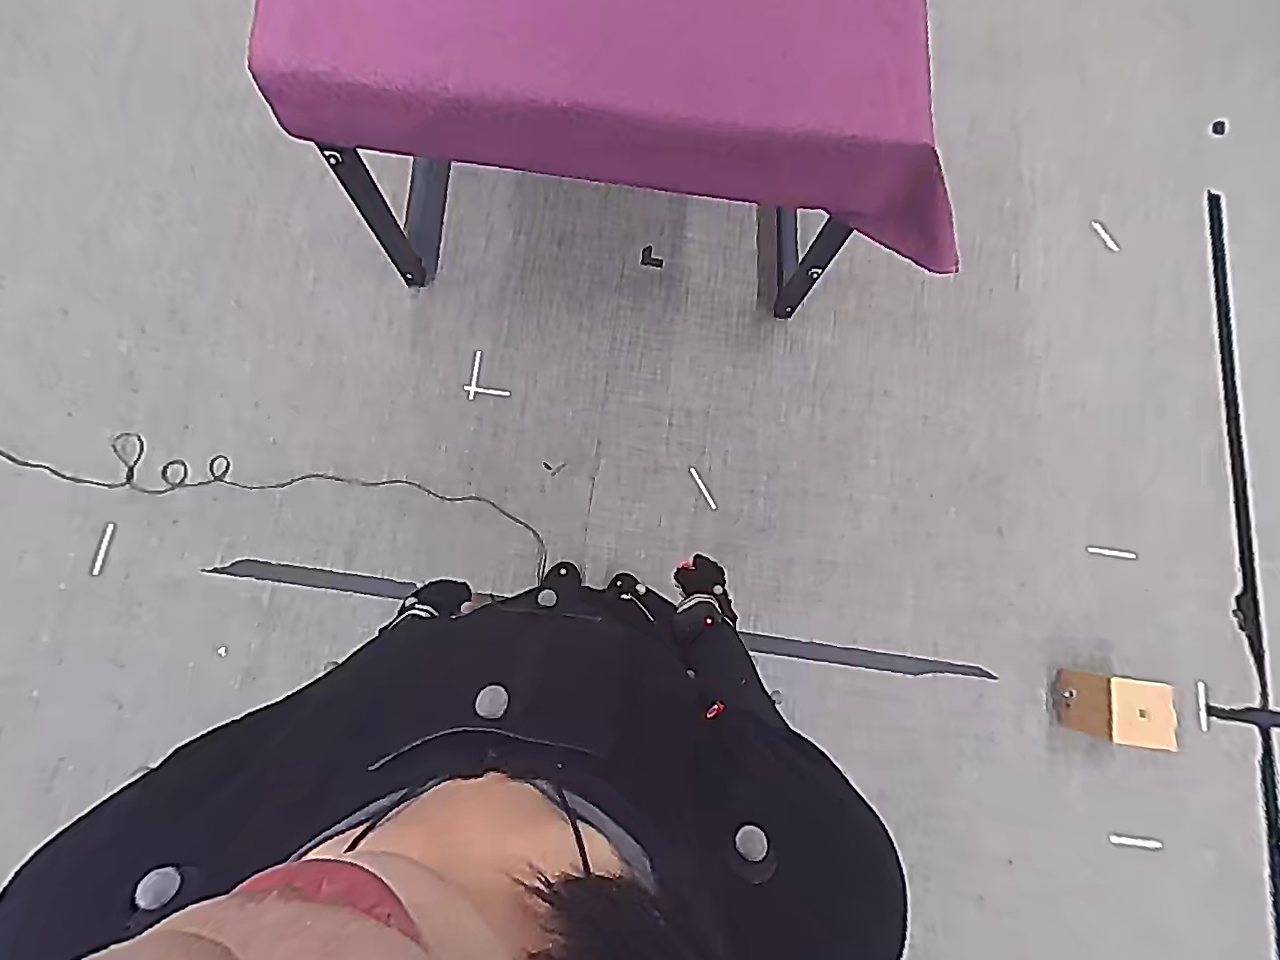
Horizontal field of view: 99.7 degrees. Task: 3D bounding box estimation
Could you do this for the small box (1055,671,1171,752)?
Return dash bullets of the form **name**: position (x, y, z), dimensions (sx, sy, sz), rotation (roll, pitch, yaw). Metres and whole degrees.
- **small box**: position (1.293, 0.628, 1.486), dimensions (0.179, 0.176, 0.168), rotation (8, 78, -2)
